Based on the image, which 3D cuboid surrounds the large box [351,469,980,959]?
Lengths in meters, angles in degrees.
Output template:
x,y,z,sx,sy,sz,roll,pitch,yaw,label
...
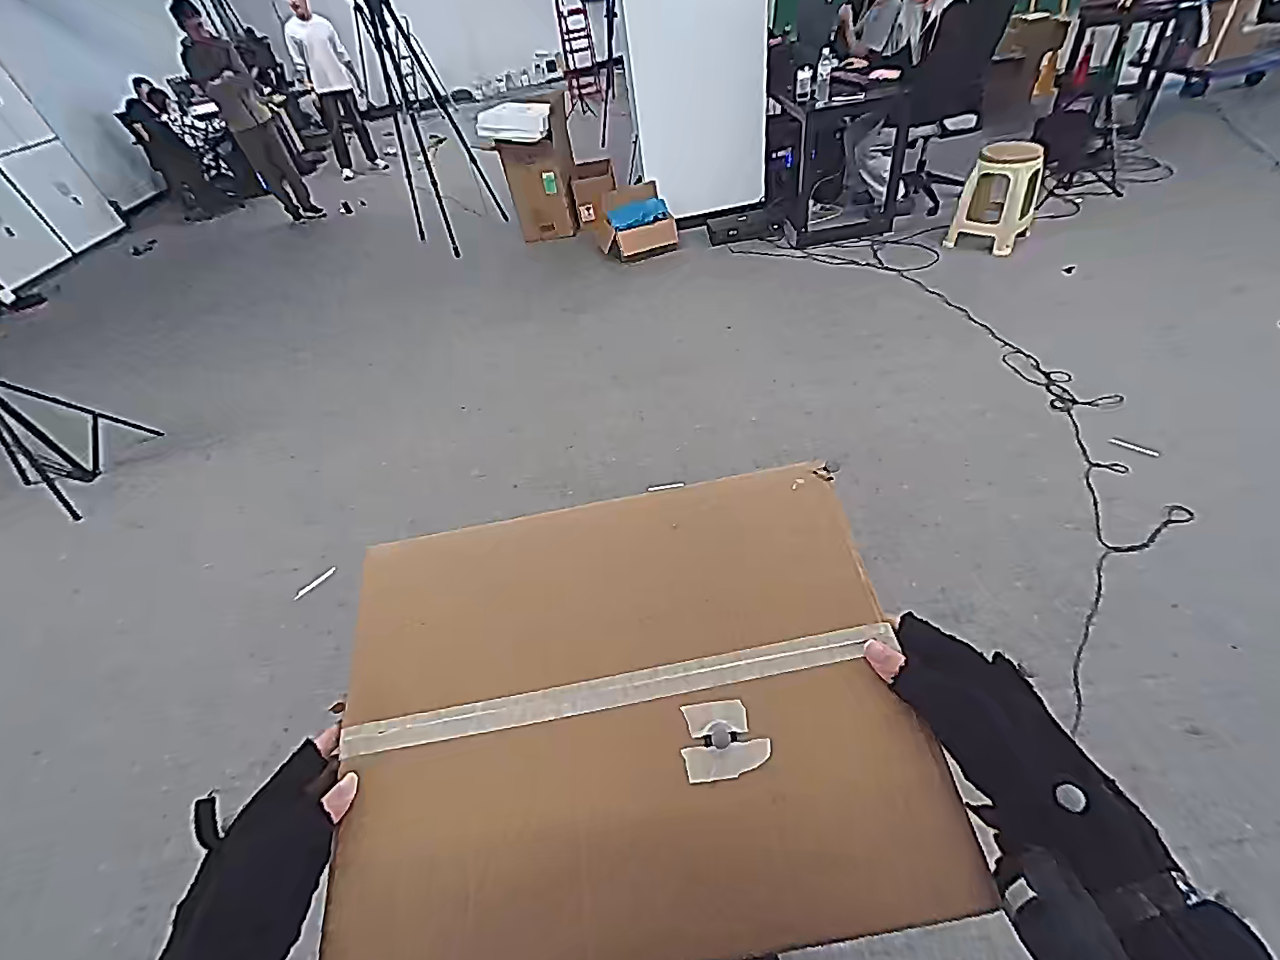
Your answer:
x,y,z,sx,sy,sz,roll,pitch,yaw,label
0.005,0.234,0.532,0.408,0.320,0.320,-11,59,0,large box
